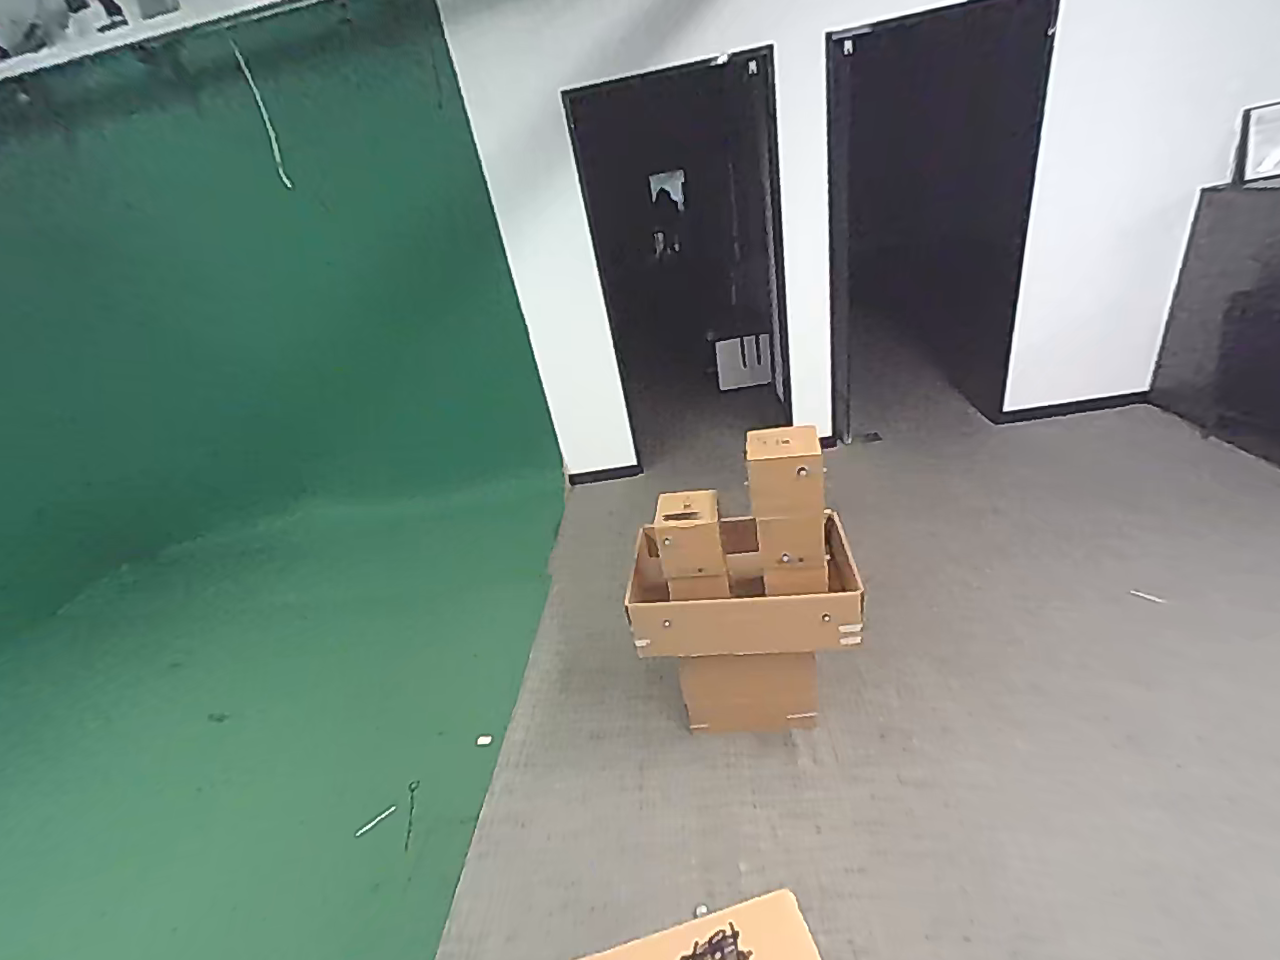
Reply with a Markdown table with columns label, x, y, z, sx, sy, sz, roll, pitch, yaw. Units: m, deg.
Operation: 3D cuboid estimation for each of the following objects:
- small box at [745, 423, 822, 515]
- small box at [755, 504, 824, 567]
| label | x | y | z | sx | sy | sz | roll | pitch | yaw |
| --- | --- | --- | --- | --- | --- | --- | --- | --- | --- |
| small box | 0.365 | -0.025 | 1.372 | 0.179 | 0.176 | 0.168 | -6 | 28 | 16 |
| small box | 0.399 | 0.114 | 1.453 | 0.168 | 0.176 | 0.179 | -6 | 29 | 14 |
